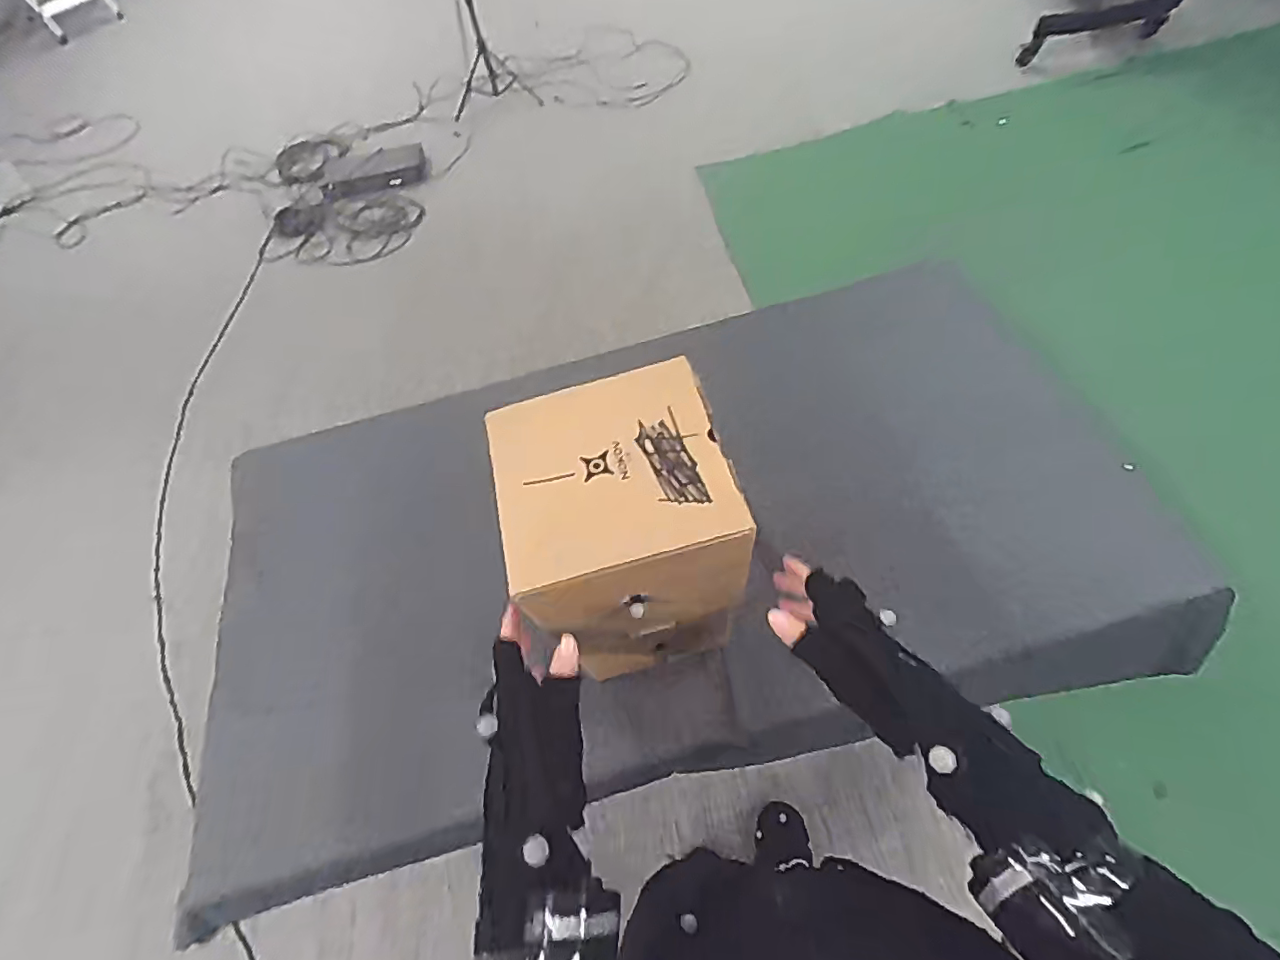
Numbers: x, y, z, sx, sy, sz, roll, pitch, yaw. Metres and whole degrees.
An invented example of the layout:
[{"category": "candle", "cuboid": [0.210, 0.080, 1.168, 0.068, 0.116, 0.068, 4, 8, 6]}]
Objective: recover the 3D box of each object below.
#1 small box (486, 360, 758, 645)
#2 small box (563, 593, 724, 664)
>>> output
[{"category": "small box", "cuboid": [-0.016, 0.028, 0.479, 0.179, 0.176, 0.168, -17, 60, -4]}, {"category": "small box", "cuboid": [-0.006, 0.102, 0.626, 0.168, 0.176, 0.179, -16, 61, -2]}]
